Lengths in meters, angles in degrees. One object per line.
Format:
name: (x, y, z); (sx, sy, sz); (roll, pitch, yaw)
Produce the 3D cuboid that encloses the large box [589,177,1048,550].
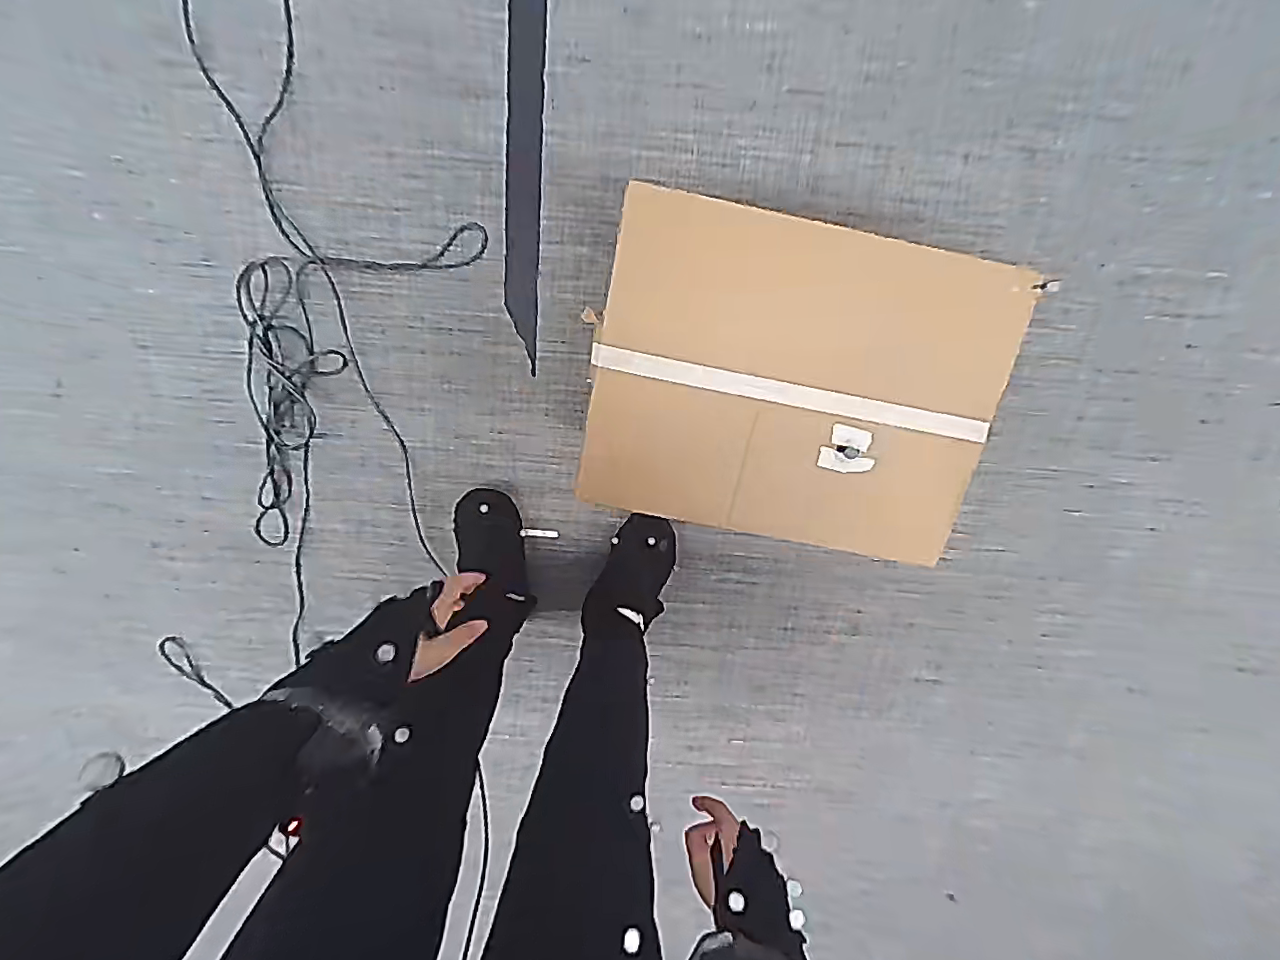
large box: (0.163, -0.139, 0.682); (0.408, 0.320, 0.320); (11, 106, -4)
